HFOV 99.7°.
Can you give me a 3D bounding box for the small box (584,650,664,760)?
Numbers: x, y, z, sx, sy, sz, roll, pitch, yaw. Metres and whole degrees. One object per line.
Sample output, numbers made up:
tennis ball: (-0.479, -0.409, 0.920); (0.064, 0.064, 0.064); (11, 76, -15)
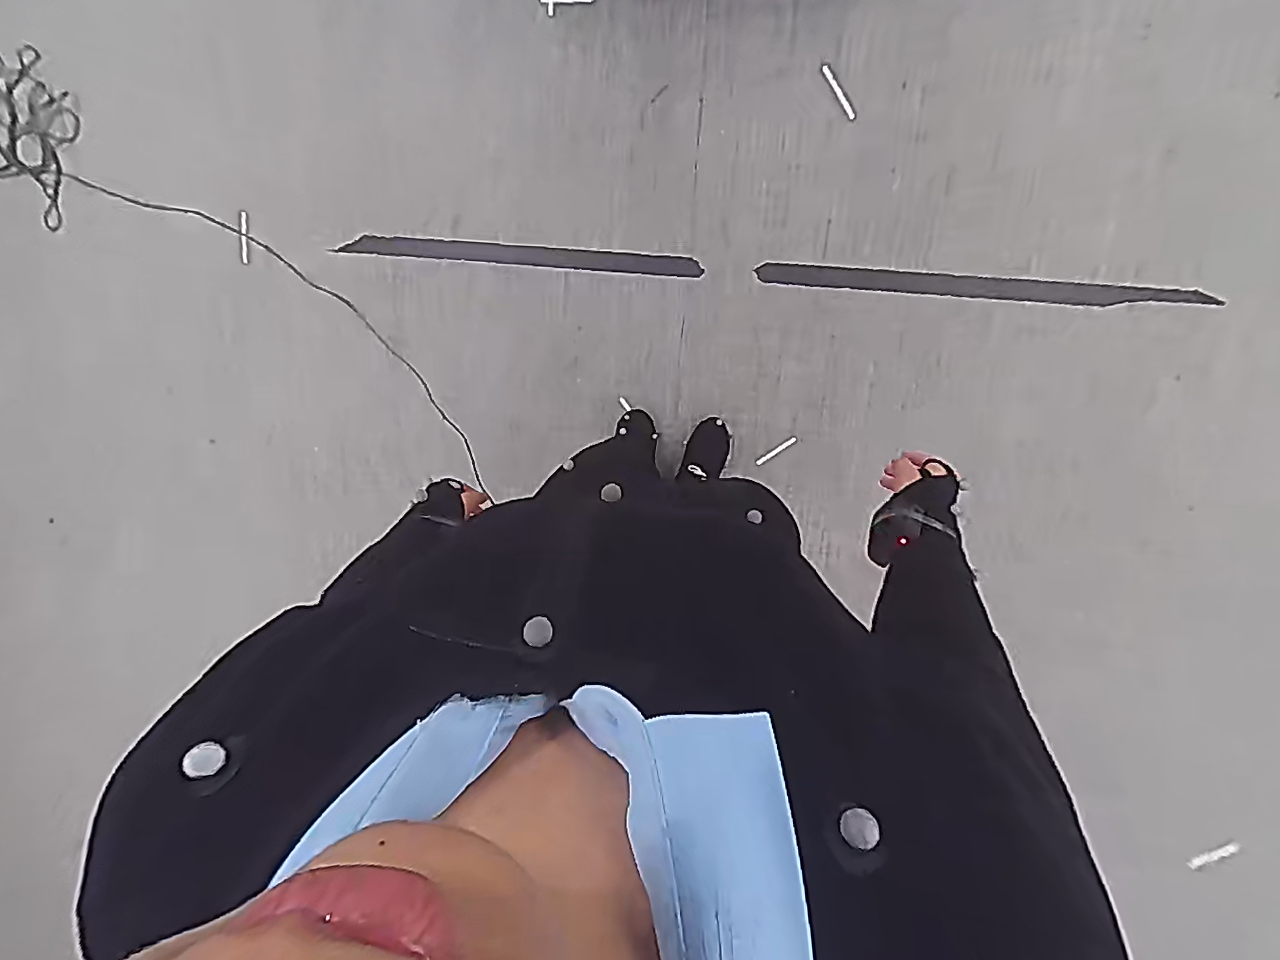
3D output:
small box: (-0.035, 0.547, 1.331); (0.168, 0.176, 0.179); (6, 99, 6)
